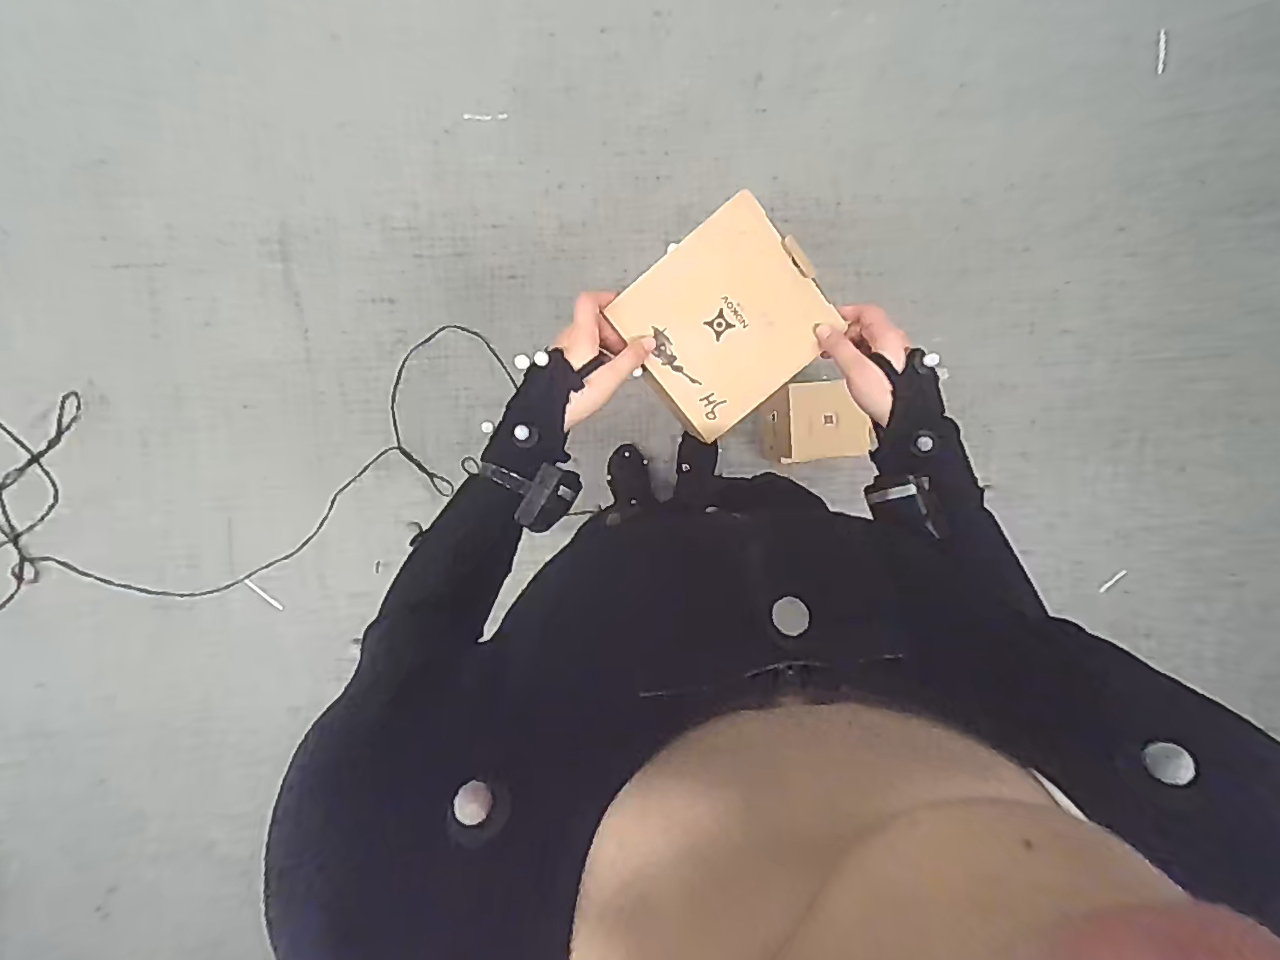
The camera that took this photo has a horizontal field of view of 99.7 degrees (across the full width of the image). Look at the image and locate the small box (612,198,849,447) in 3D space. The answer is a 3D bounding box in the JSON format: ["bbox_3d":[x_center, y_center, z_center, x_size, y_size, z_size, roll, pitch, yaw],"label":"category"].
[{"bbox_3d":[0.083,-0.160,0.591,0.179,0.176,0.168,-39,99,5],"label":"small box"}]

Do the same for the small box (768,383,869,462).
[{"bbox_3d":[0.403,-0.132,1.239,0.179,0.176,0.168,-4,95,-1],"label":"small box"}]
